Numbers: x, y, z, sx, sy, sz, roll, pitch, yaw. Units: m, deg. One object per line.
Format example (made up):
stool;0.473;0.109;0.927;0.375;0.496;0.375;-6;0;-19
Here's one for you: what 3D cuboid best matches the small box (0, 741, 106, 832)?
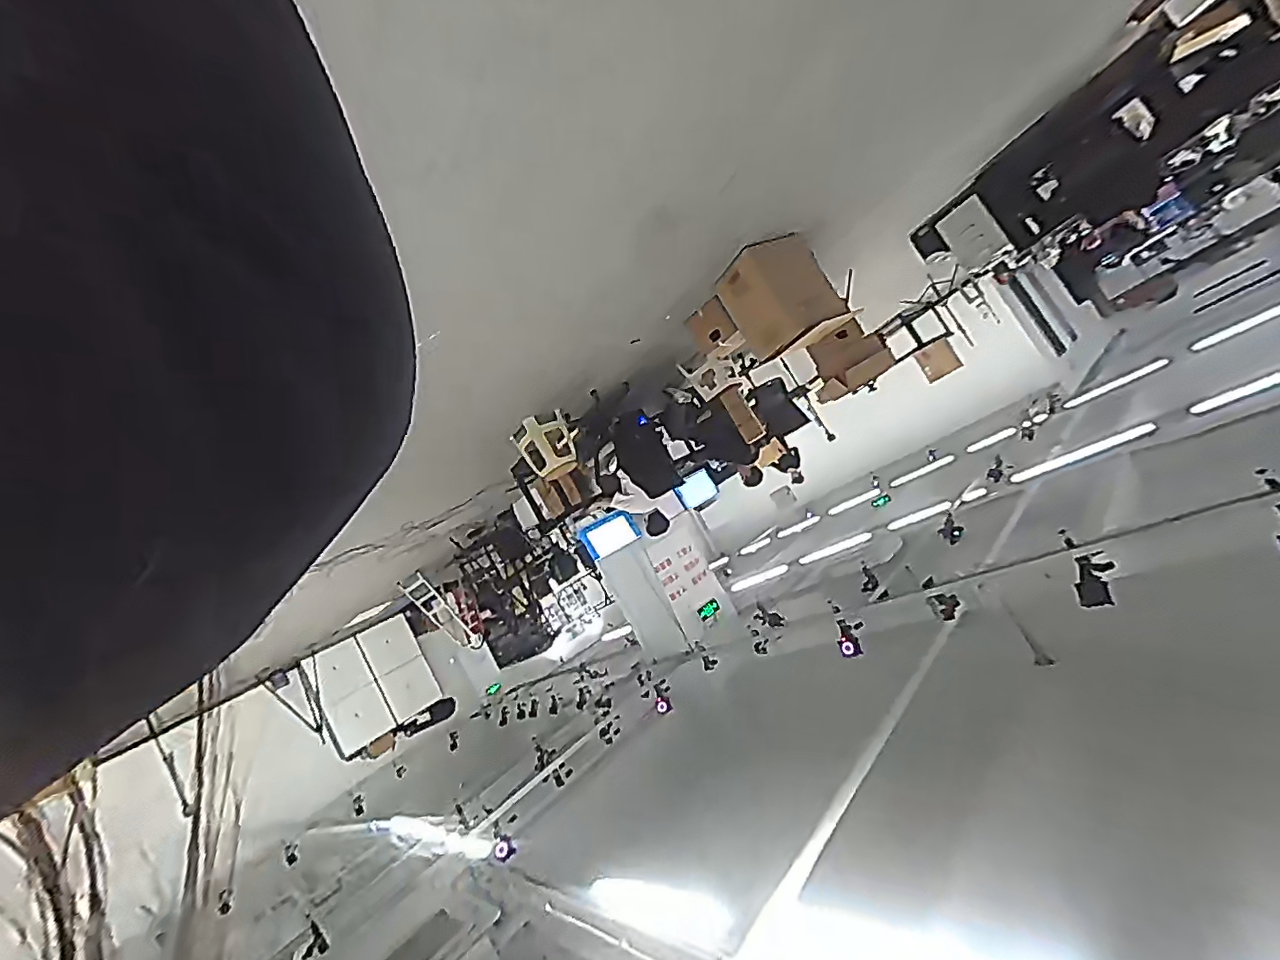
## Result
small box;-1.723;0.892;1.588;0.168;0.176;0.179;-25;171;-41
